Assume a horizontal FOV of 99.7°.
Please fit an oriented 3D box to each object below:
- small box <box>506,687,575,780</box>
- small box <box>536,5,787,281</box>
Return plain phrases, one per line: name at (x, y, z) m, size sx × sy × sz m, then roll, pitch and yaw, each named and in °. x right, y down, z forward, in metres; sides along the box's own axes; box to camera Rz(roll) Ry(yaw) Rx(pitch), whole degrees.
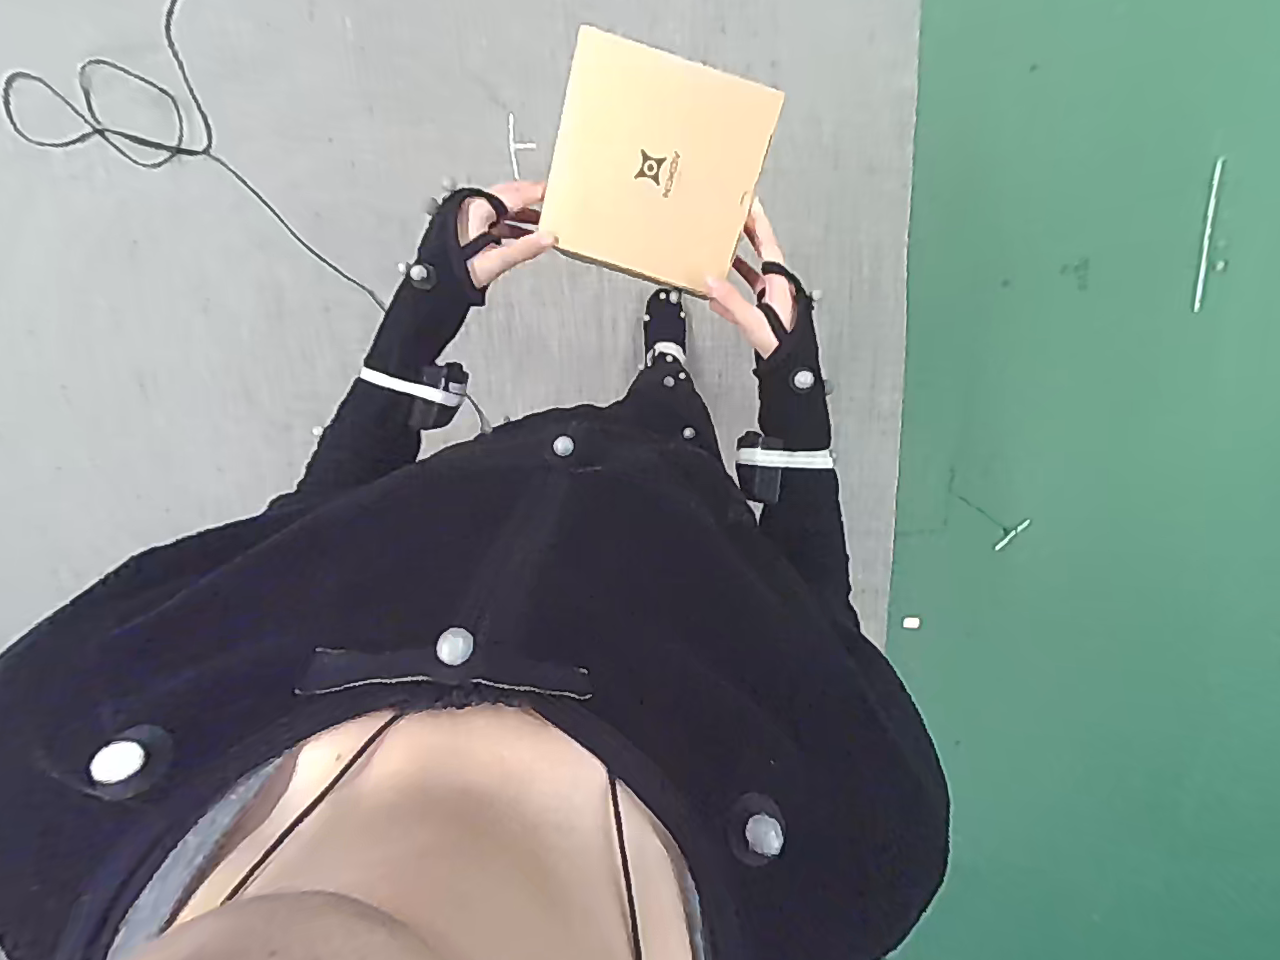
small box at (-0.269, 0.697, 1.493) m, size 0.168 × 0.176 × 0.179 m, roll 0°, pitch 100°, yaw -2°
small box at (0.016, -0.301, 0.528) m, size 0.179 × 0.176 × 0.168 m, roll 16°, pitch 108°, yaw -4°
